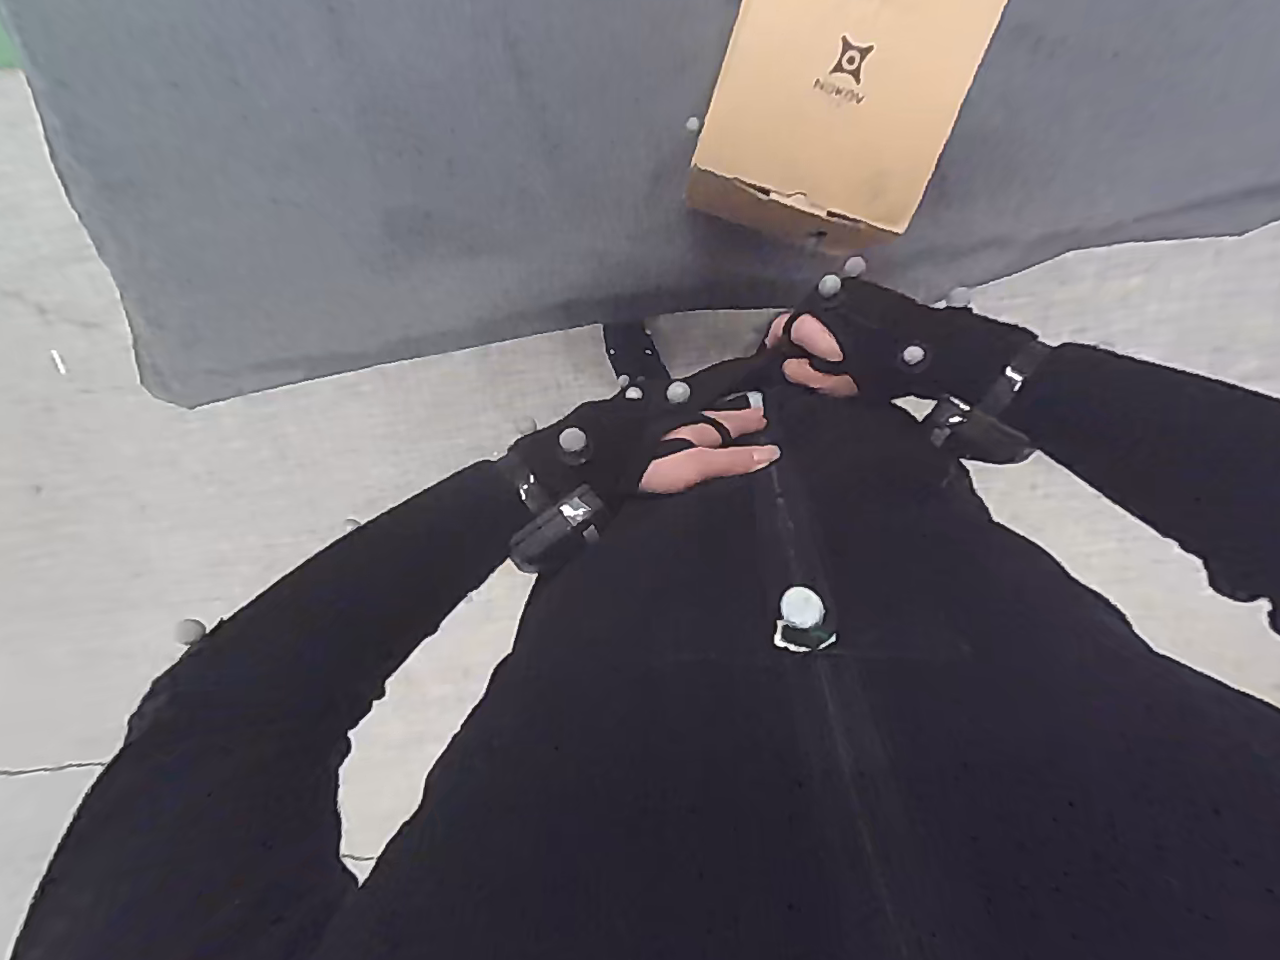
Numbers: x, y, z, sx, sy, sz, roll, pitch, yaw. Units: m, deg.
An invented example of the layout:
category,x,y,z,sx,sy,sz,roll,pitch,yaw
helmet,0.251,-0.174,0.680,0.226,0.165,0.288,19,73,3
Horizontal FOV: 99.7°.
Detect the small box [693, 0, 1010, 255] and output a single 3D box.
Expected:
category,x,y,z,sx,sy,sz,roll,pitch,yaw
small box,0.145,-0.297,0.441,0.168,0.176,0.179,16,108,-3
